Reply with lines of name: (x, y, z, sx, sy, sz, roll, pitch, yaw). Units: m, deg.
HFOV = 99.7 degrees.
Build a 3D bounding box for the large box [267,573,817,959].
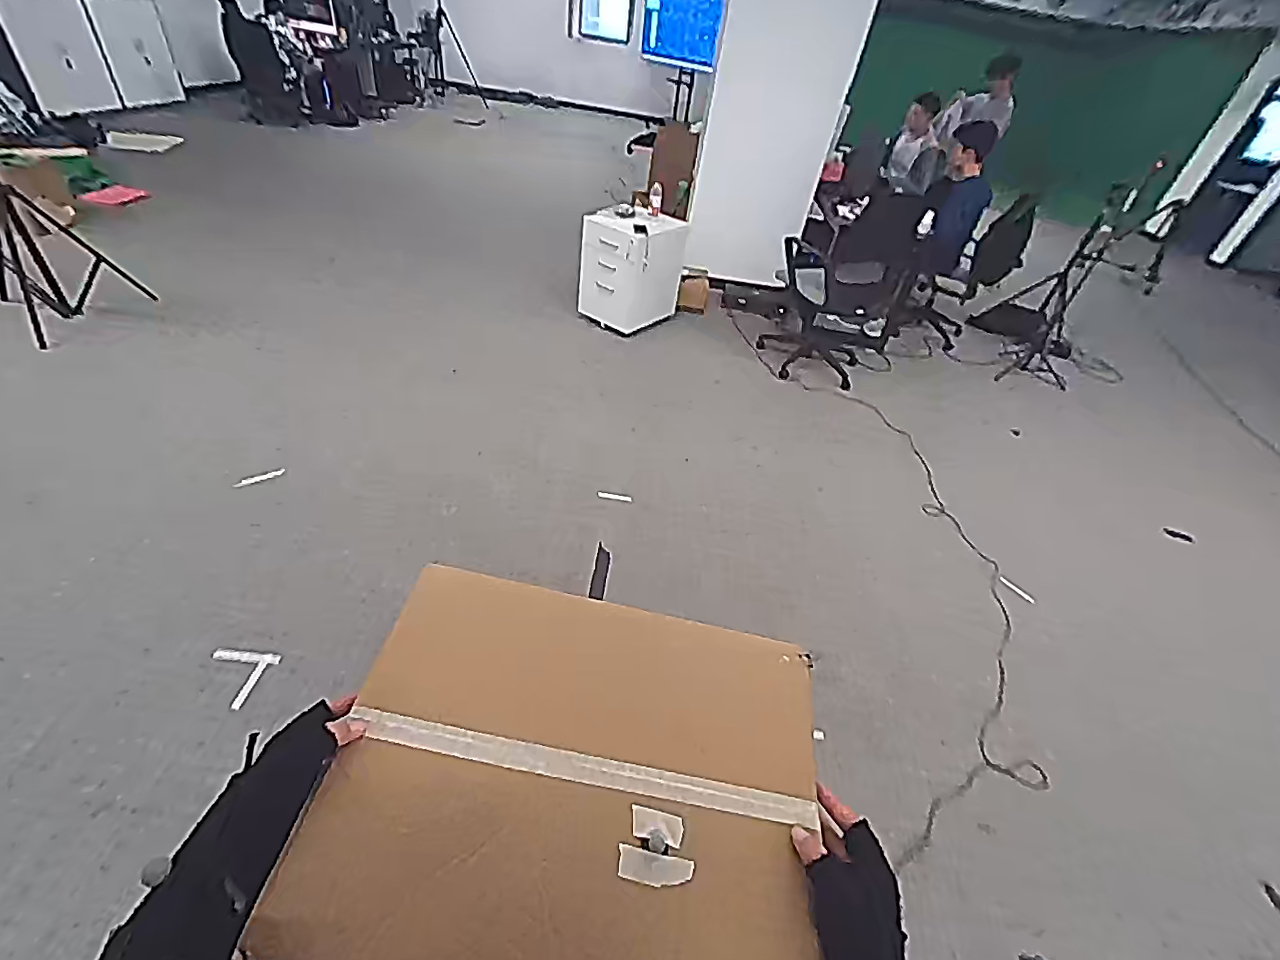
large box: (-0.071, 0.343, 0.584, 0.408, 0.320, 0.320, 13, 49, -2)
